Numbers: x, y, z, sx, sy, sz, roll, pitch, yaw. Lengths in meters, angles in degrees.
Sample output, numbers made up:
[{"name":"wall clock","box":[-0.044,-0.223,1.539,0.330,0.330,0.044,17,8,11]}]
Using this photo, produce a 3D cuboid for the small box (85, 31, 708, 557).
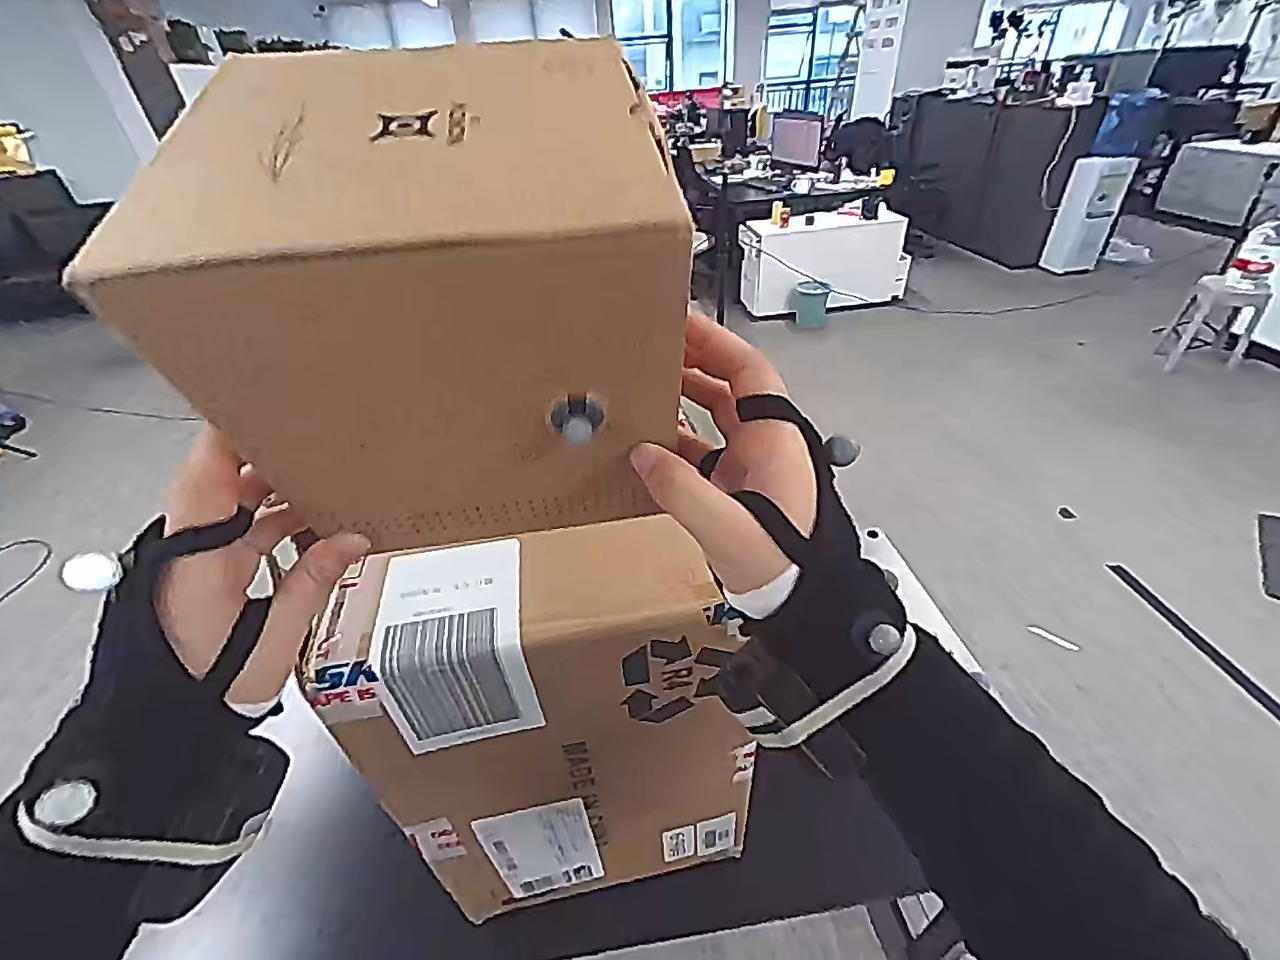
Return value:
[{"name":"small box","box":[-0.077,-0.079,0.262,0.179,0.176,0.168,-8,56,-5]}]
